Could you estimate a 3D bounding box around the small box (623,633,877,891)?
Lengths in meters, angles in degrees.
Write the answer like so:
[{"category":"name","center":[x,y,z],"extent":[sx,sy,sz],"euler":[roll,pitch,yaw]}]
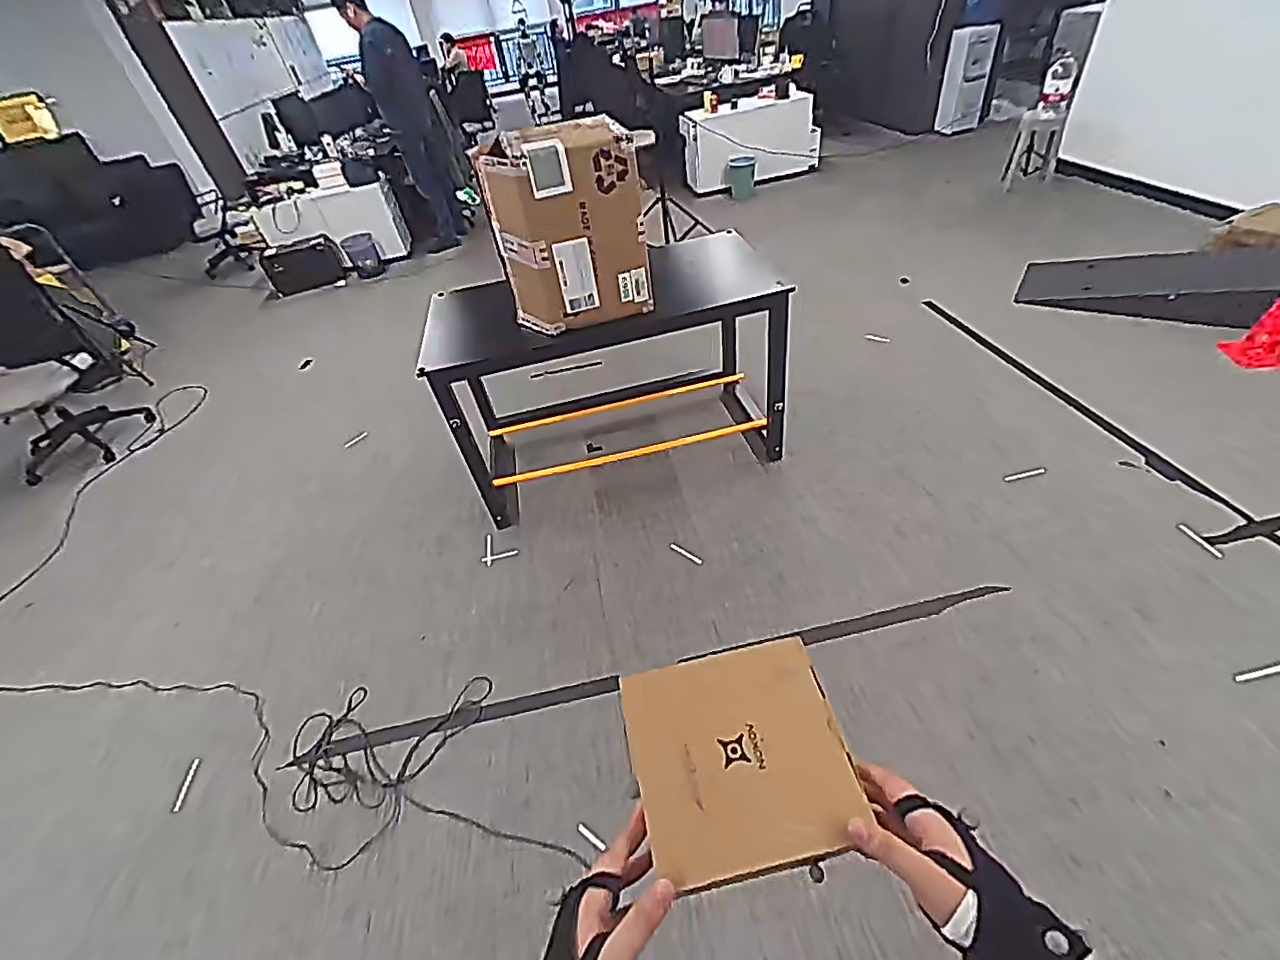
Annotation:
[{"category":"small box","center":[0.090,0.274,0.520],"extent":[0.179,0.176,0.168],"euler":[-13,50,-4]}]
